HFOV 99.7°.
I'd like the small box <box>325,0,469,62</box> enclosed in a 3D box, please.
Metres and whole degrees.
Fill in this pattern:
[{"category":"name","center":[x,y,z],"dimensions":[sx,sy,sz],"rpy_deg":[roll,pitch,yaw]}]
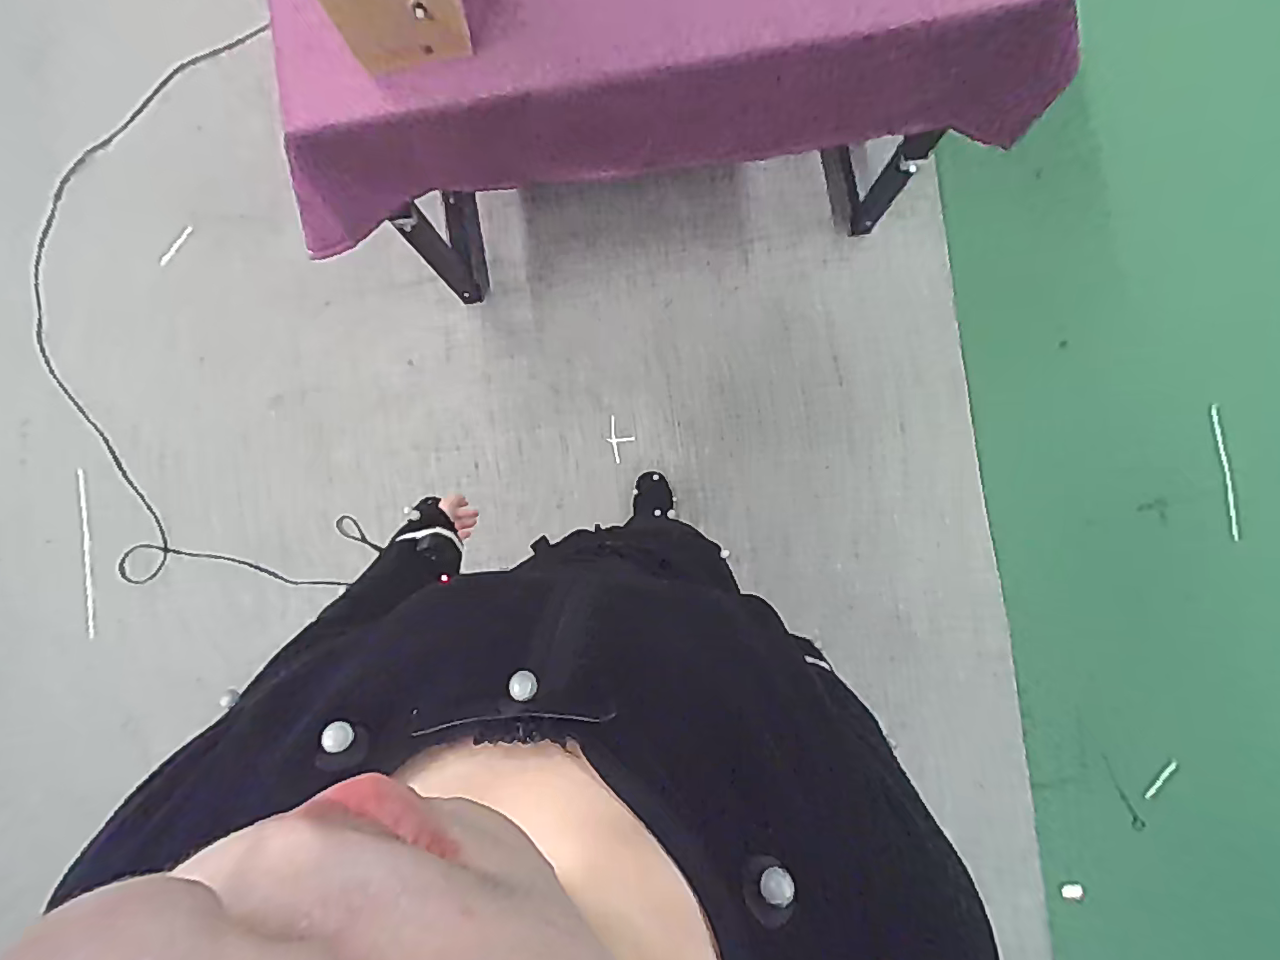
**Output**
[{"category":"small box","center":[-0.349,-0.722,0.745],"dimensions":[0.168,0.176,0.179],"rpy_deg":[-11,86,-1]}]
